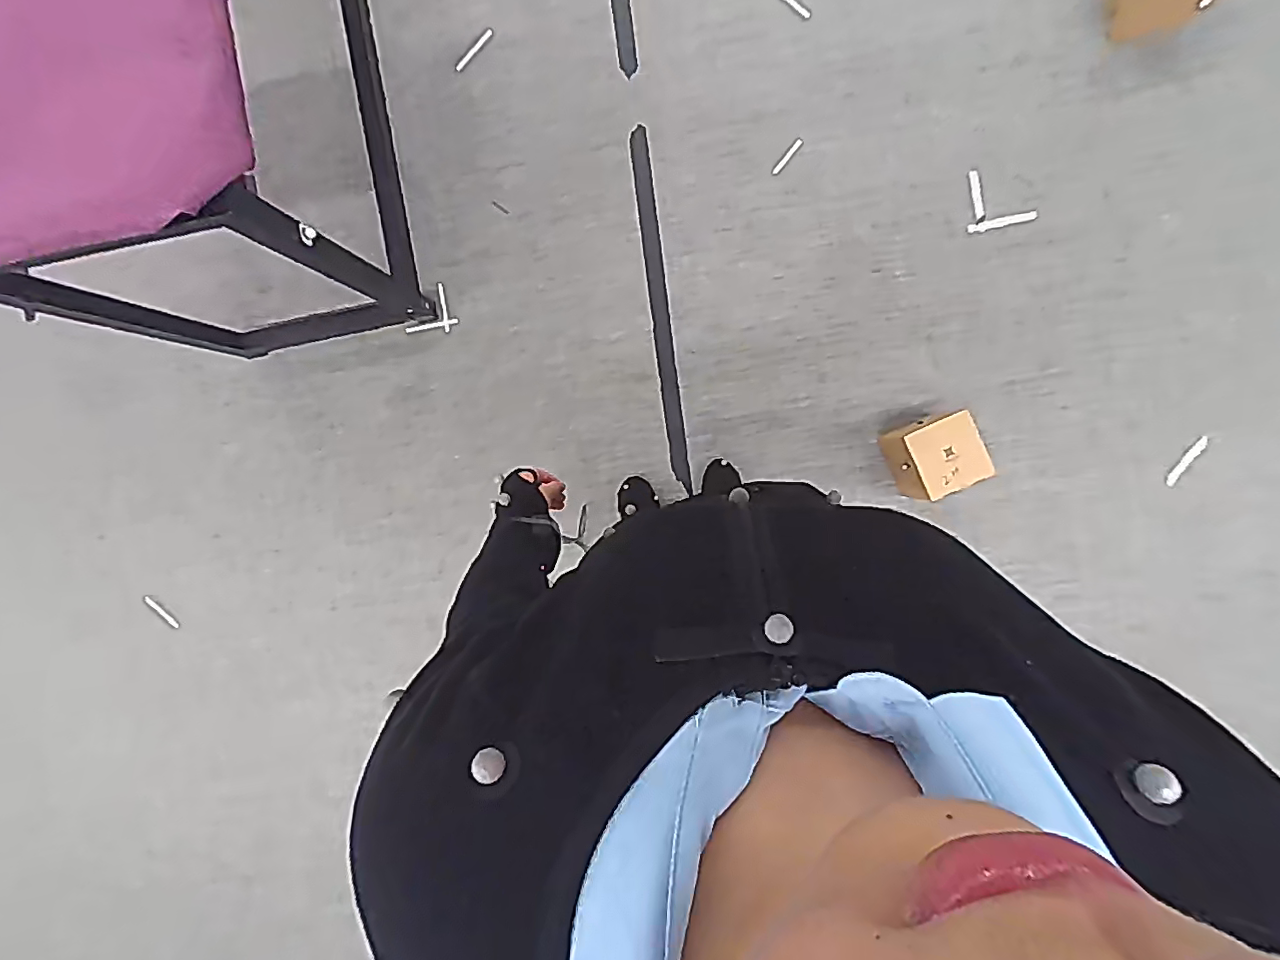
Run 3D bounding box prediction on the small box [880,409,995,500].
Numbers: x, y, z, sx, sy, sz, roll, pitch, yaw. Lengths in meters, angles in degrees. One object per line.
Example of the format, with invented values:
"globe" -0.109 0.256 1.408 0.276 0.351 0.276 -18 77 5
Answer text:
"small box" 0.743 -0.063 1.373 0.168 0.176 0.179 -24 91 4
